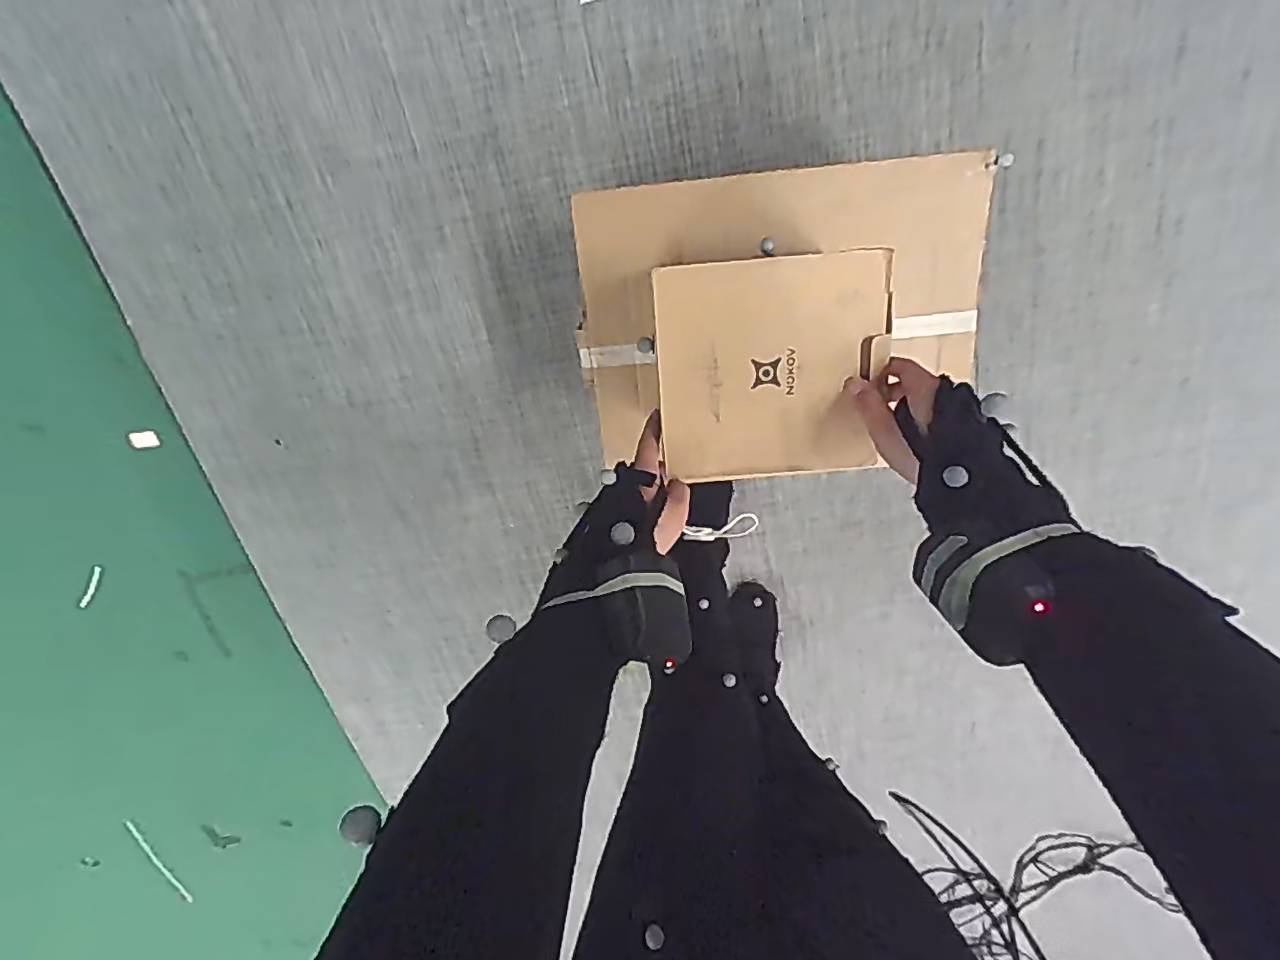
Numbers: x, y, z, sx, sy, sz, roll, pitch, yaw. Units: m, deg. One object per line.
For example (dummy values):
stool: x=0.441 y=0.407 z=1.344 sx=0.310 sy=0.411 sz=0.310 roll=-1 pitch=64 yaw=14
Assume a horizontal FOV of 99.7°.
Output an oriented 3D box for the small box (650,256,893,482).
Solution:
small box: x=0.101 y=-0.108 z=0.489 sx=0.179 sy=0.176 sz=0.168 roll=-4 pitch=110 yaw=3

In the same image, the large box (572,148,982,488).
large box: x=0.144 y=-0.205 z=0.711 sx=0.408 sy=0.320 sz=0.320 roll=-6 pitch=112 yaw=2
